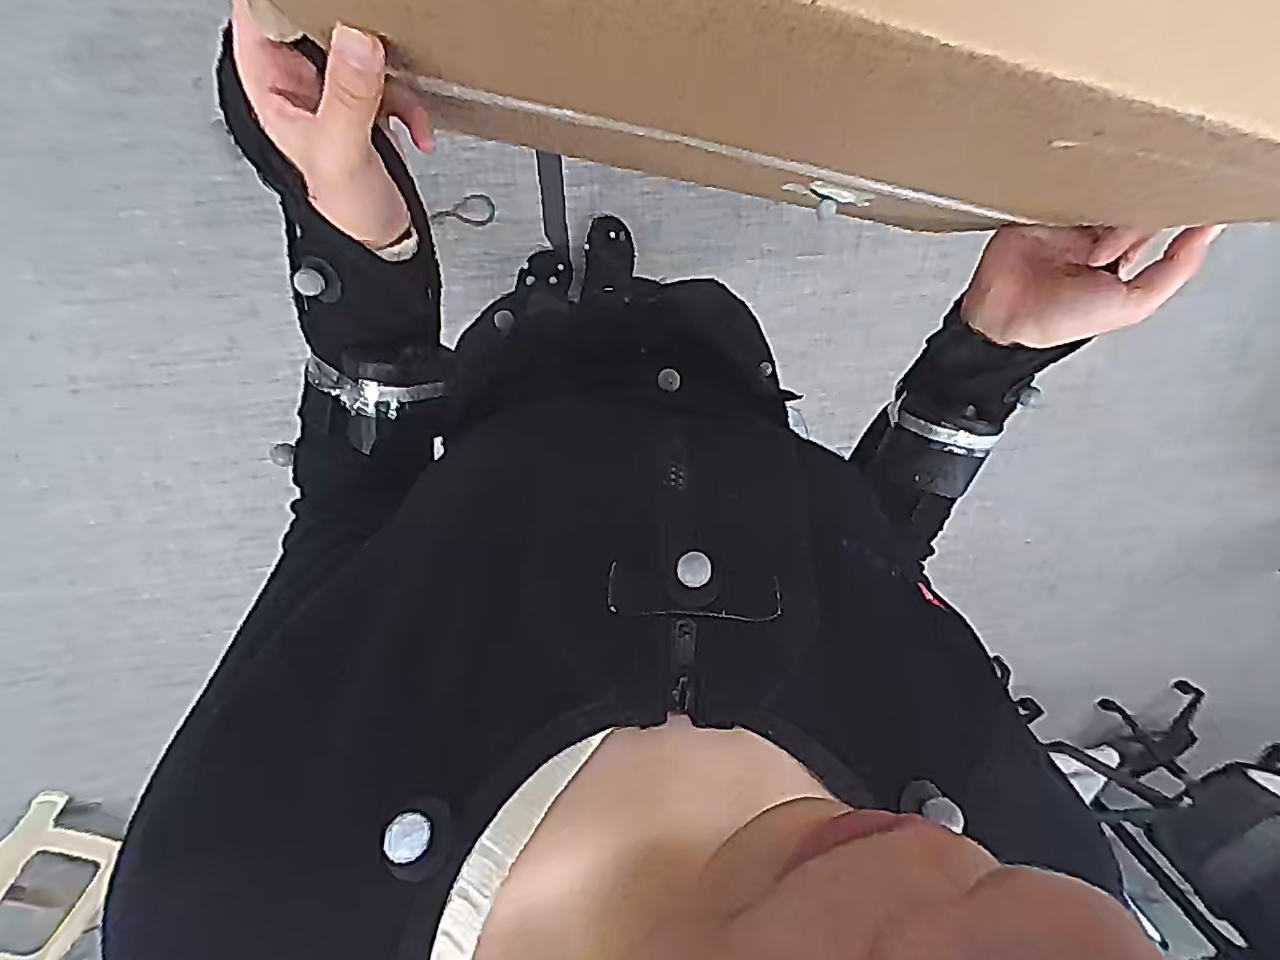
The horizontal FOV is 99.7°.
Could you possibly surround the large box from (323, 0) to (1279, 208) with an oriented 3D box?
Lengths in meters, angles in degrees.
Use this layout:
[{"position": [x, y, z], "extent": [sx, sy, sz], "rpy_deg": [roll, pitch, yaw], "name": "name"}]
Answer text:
[{"position": [0.087, -0.317, 0.209], "extent": [0.408, 0.320, 0.320], "rpy_deg": [4, 114, -12], "name": "large box"}]
